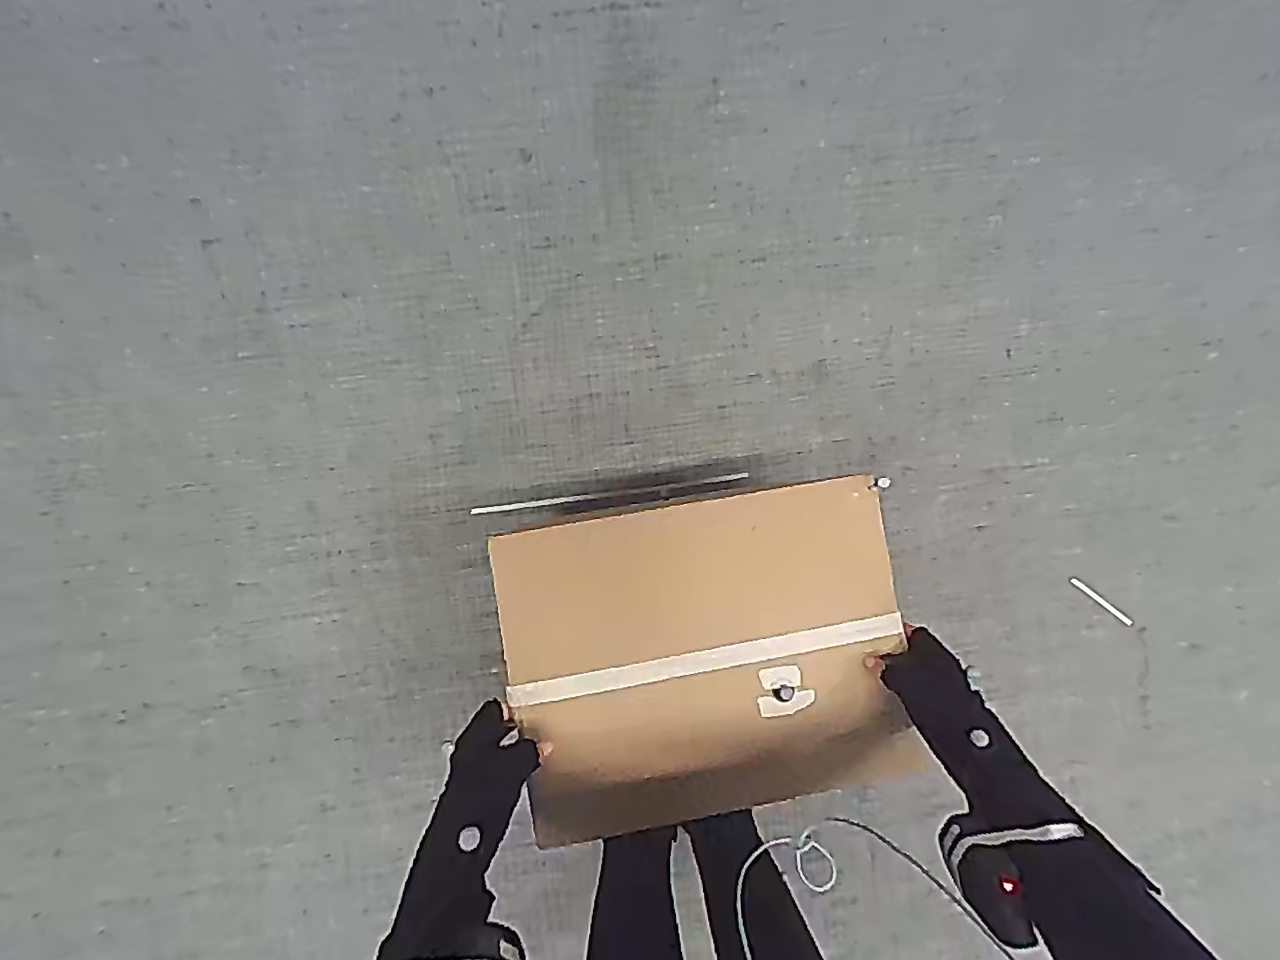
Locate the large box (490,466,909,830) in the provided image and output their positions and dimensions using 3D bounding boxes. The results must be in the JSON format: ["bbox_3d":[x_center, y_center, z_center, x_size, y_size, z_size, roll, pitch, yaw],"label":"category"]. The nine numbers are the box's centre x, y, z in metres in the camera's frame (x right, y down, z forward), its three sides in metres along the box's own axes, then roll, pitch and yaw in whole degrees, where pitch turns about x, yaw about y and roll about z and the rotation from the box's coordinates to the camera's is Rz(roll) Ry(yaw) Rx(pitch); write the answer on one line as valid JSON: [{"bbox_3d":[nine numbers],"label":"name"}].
[{"bbox_3d":[0.055,0.174,0.709,0.408,0.320,0.320,-10,90,-5],"label":"large box"}]
